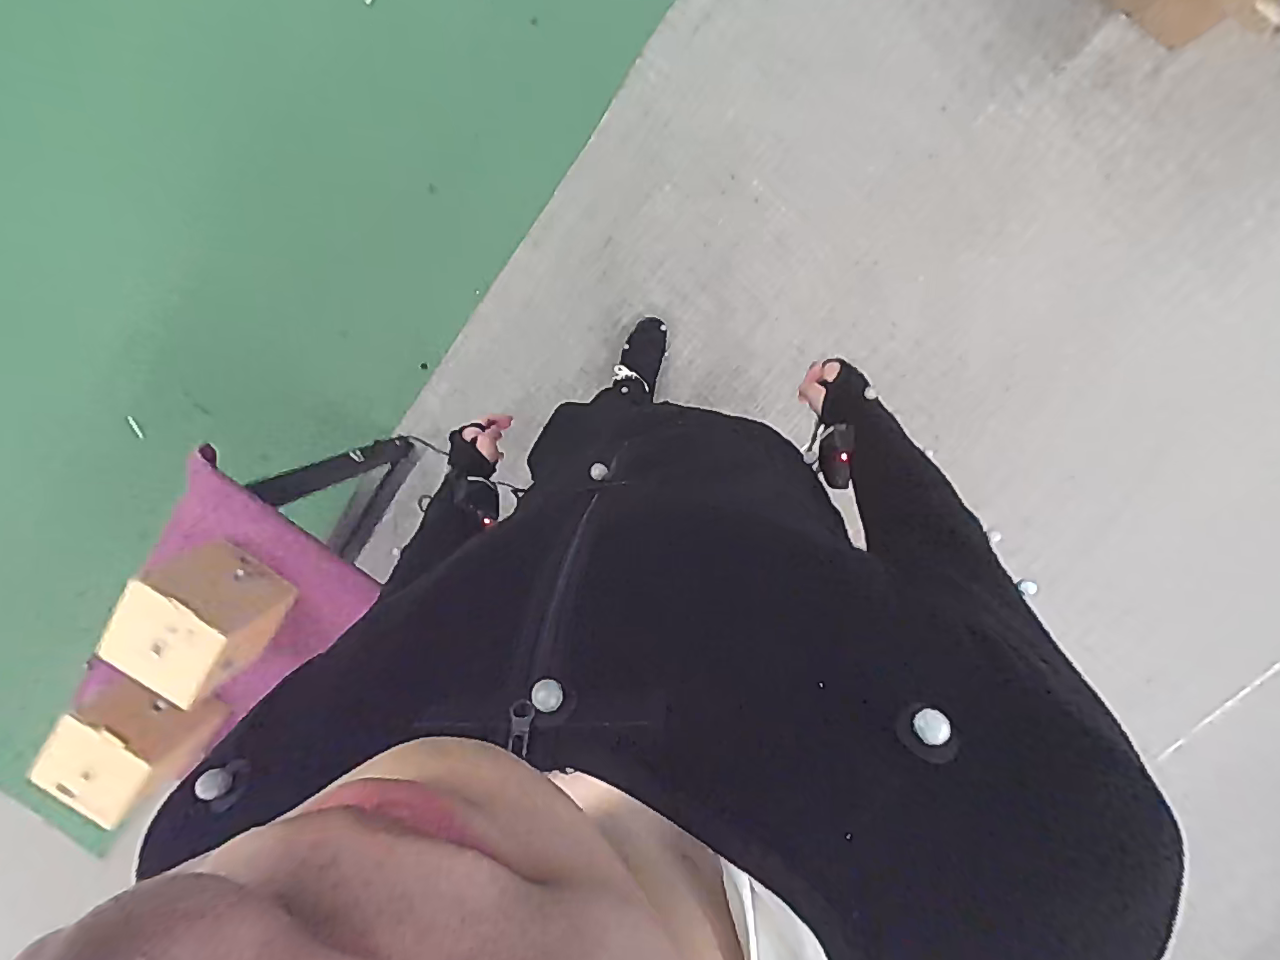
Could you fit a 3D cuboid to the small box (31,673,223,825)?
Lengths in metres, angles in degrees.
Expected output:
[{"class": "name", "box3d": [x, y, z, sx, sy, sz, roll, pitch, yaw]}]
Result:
[{"class": "small box", "box3d": [-0.931, 0.474, 1.002, 0.168, 0.176, 0.179, 38, 101, -5]}]

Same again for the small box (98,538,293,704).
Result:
[{"class": "small box", "box3d": [-0.743, 0.232, 0.924, 0.168, 0.176, 0.179, 37, 105, -6]}]
